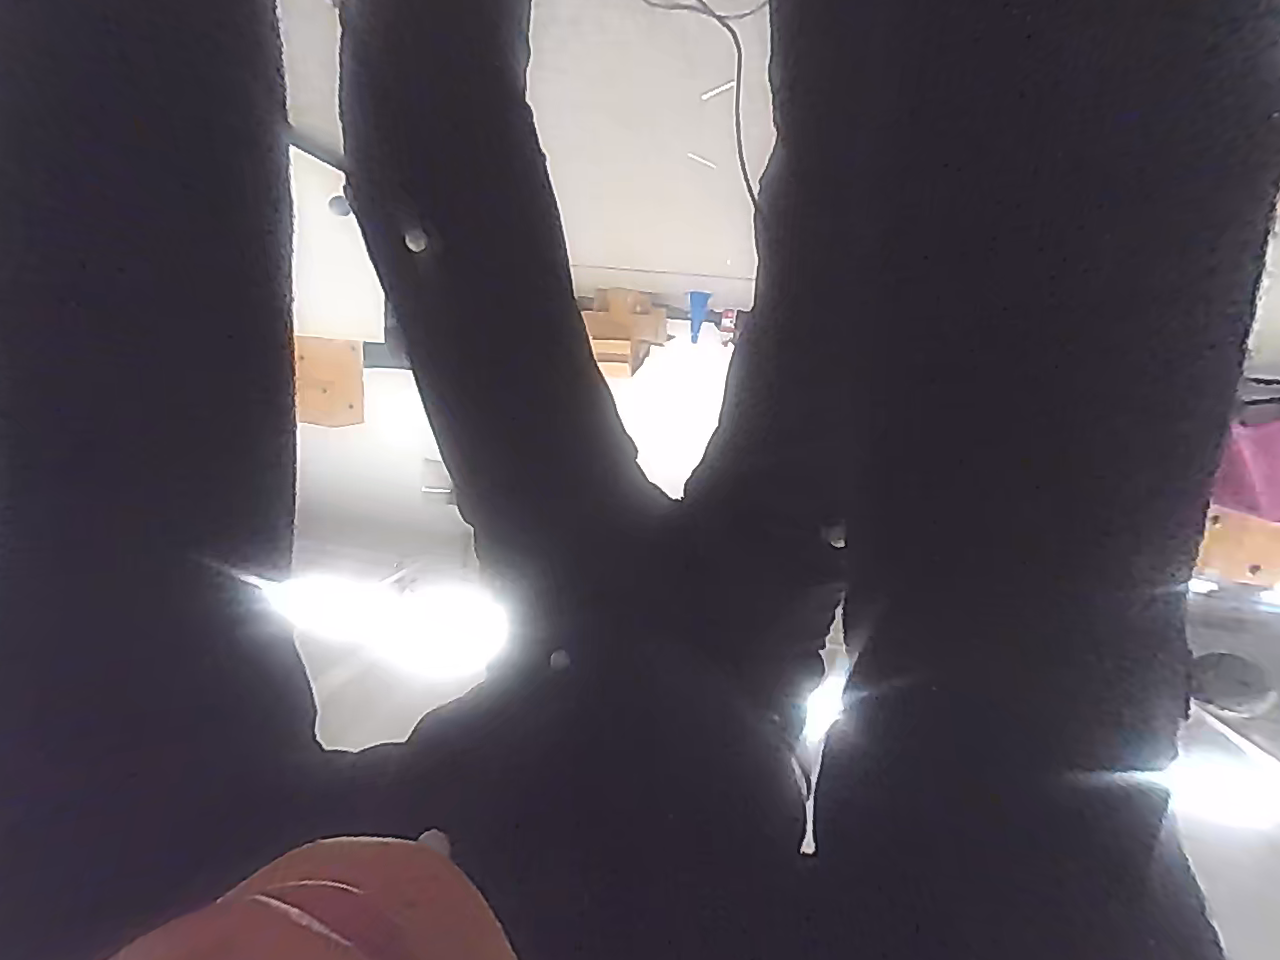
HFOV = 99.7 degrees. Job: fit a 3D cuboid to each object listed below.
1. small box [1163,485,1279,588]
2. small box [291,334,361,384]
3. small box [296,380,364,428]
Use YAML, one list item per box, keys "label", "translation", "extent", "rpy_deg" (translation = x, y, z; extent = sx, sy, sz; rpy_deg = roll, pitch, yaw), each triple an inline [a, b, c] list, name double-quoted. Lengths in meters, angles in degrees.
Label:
- label: "small box"
  translation: [1.284, 0.116, 1.141]
  extent: [0.179, 0.176, 0.168]
  rpy_deg: [8, -168, 9]
- label: "small box"
  translation: [-1.185, -0.460, 2.052]
  extent: [0.179, 0.176, 0.168]
  rpy_deg: [8, -168, 6]
- label: "small box"
  translation: [-1.202, -0.301, 2.092]
  extent: [0.168, 0.176, 0.179]
  rpy_deg: [10, -166, 10]
